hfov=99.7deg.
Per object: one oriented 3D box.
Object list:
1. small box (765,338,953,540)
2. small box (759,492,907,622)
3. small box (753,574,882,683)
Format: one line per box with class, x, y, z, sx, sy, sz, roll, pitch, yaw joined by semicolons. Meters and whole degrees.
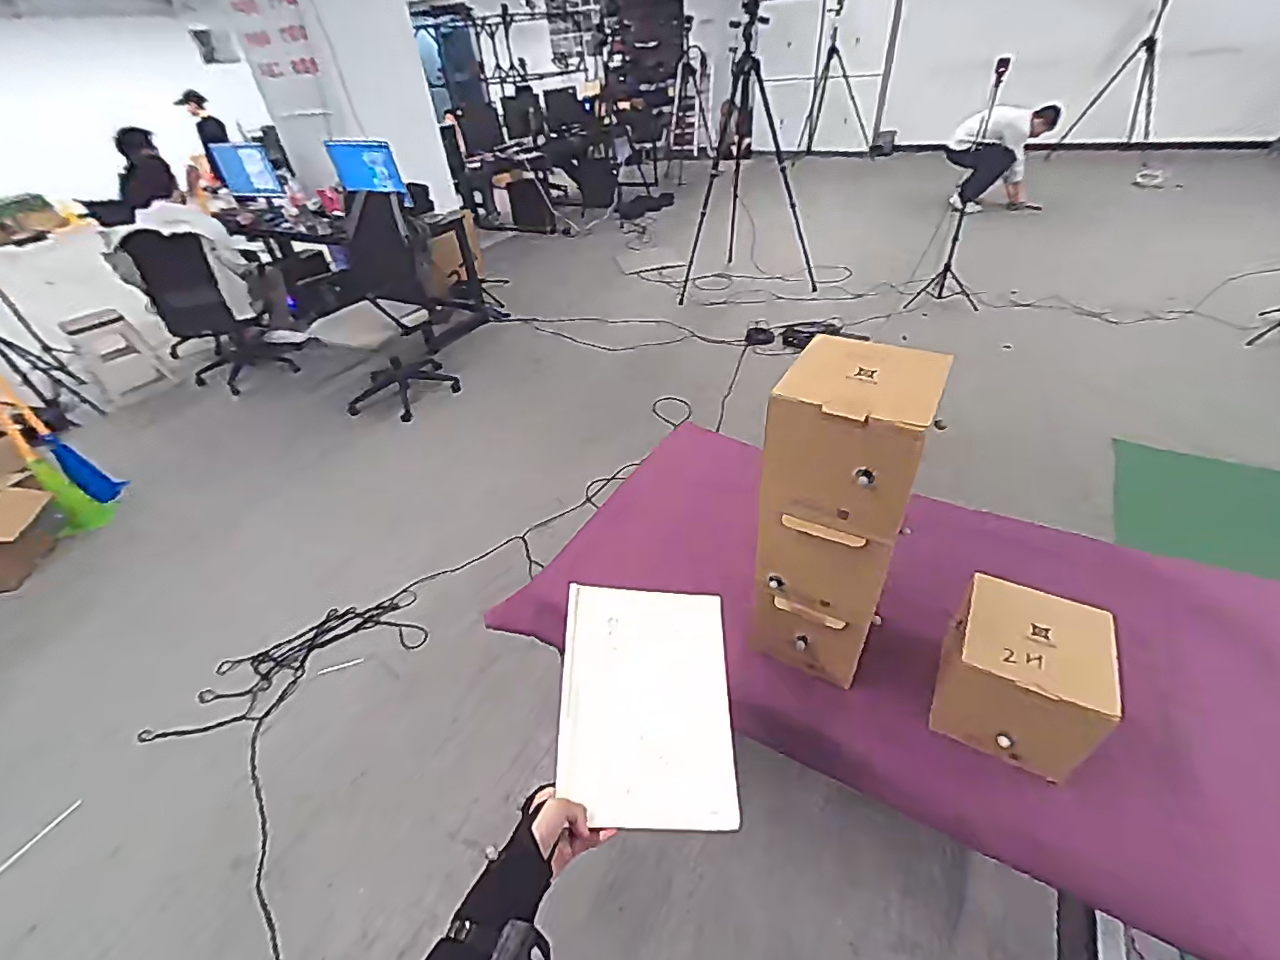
small box;0.265;-0.053;0.674;0.168;0.176;0.179;19;44;27
small box;0.278;0.071;0.779;0.168;0.176;0.179;18;43;27
small box;0.293;0.196;0.885;0.168;0.176;0.179;18;45;26
